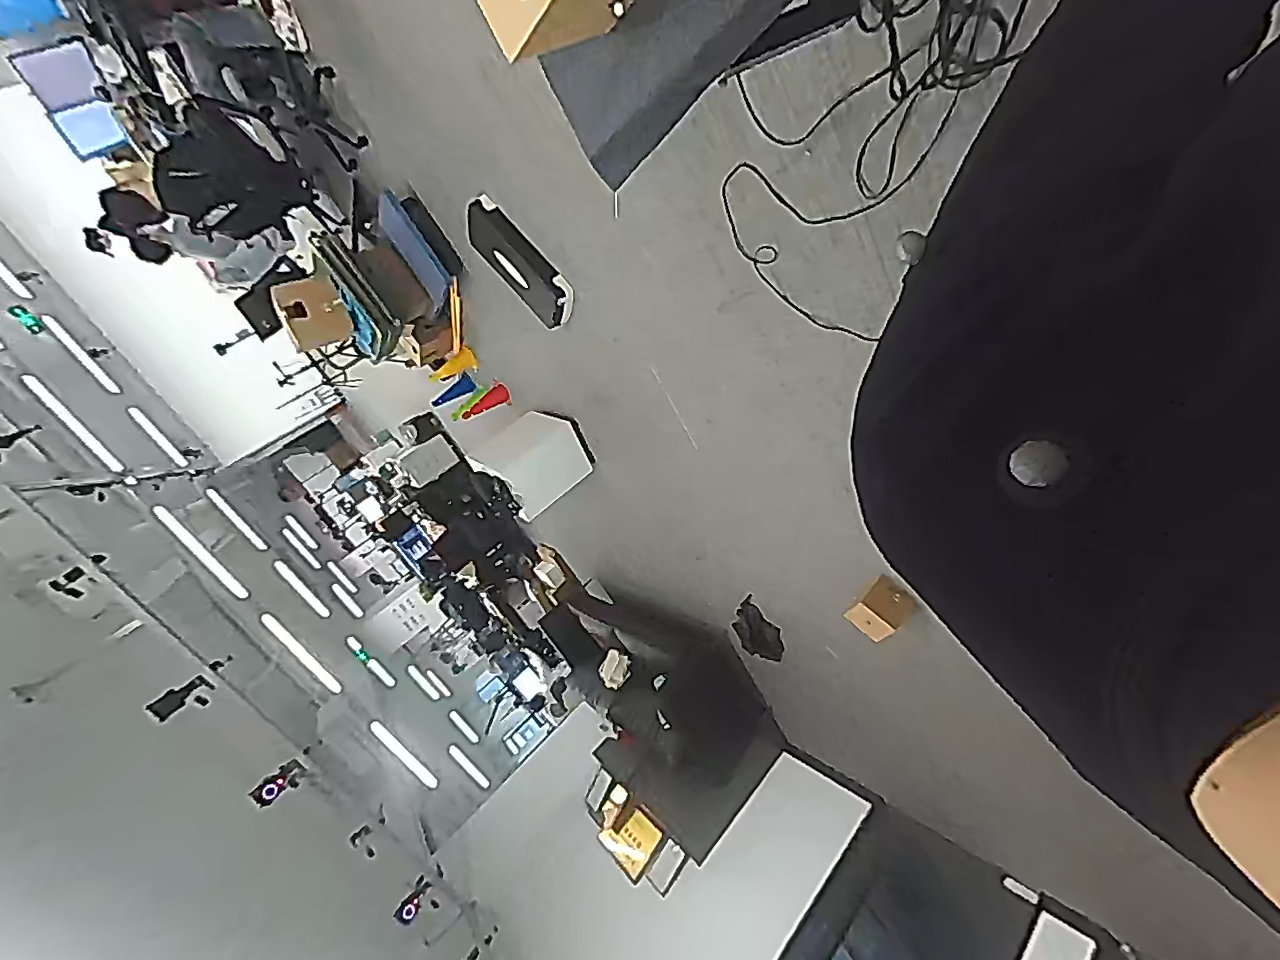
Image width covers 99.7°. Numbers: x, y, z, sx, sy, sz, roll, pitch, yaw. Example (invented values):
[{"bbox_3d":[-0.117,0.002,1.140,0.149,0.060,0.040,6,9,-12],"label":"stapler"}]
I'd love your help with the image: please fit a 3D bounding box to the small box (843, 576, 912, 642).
[{"bbox_3d":[0.965,0.521,2.194,0.168,0.176,0.179,40,153,18],"label":"small box"}]
